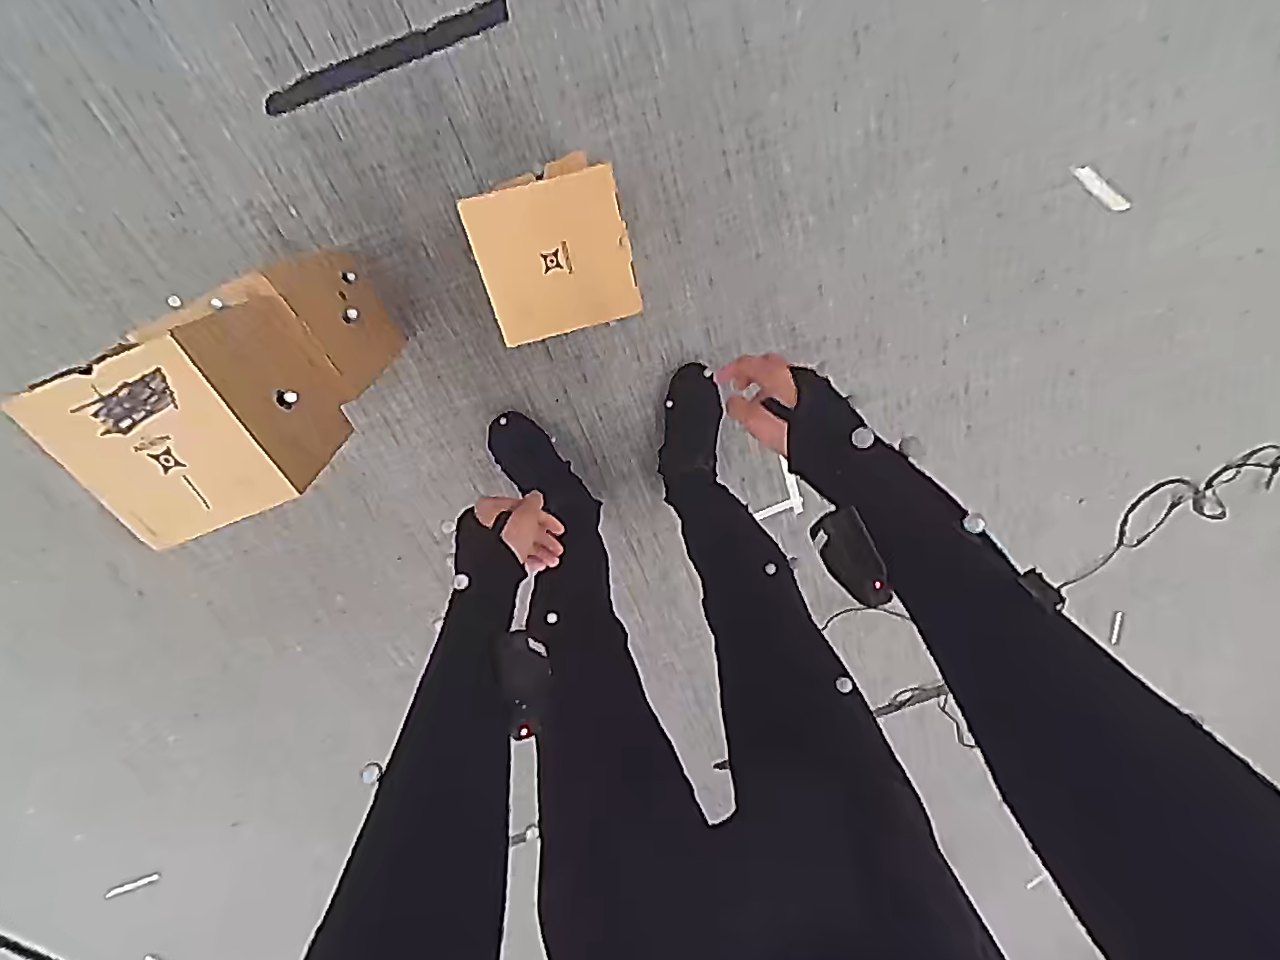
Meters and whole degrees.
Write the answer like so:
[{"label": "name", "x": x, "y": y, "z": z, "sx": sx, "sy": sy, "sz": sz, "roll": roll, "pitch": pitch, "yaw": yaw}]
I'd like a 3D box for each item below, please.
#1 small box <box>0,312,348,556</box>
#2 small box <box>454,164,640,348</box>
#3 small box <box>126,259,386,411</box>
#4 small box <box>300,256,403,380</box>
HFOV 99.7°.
[{"label": "small box", "x": -0.445, "y": -0.059, "z": 0.559, "sx": 0.168, "sy": 0.176, "sz": 0.179, "roll": -20, "pitch": 120, "yaw": 3}, {"label": "small box", "x": -0.111, "y": -0.285, "z": 0.686, "sx": 0.179, "sy": 0.176, "sz": 0.168, "roll": -16, "pitch": 119, "yaw": -2}, {"label": "small box", "x": -0.463, "y": -0.161, "z": 0.689, "sx": 0.179, "sy": 0.176, "sz": 0.168, "roll": -24, "pitch": 119, "yaw": 4}, {"label": "small box", "x": -0.499, "y": -0.230, "z": 0.834, "sx": 0.168, "sy": 0.176, "sz": 0.179, "roll": -23, "pitch": 120, "yaw": 3}]
